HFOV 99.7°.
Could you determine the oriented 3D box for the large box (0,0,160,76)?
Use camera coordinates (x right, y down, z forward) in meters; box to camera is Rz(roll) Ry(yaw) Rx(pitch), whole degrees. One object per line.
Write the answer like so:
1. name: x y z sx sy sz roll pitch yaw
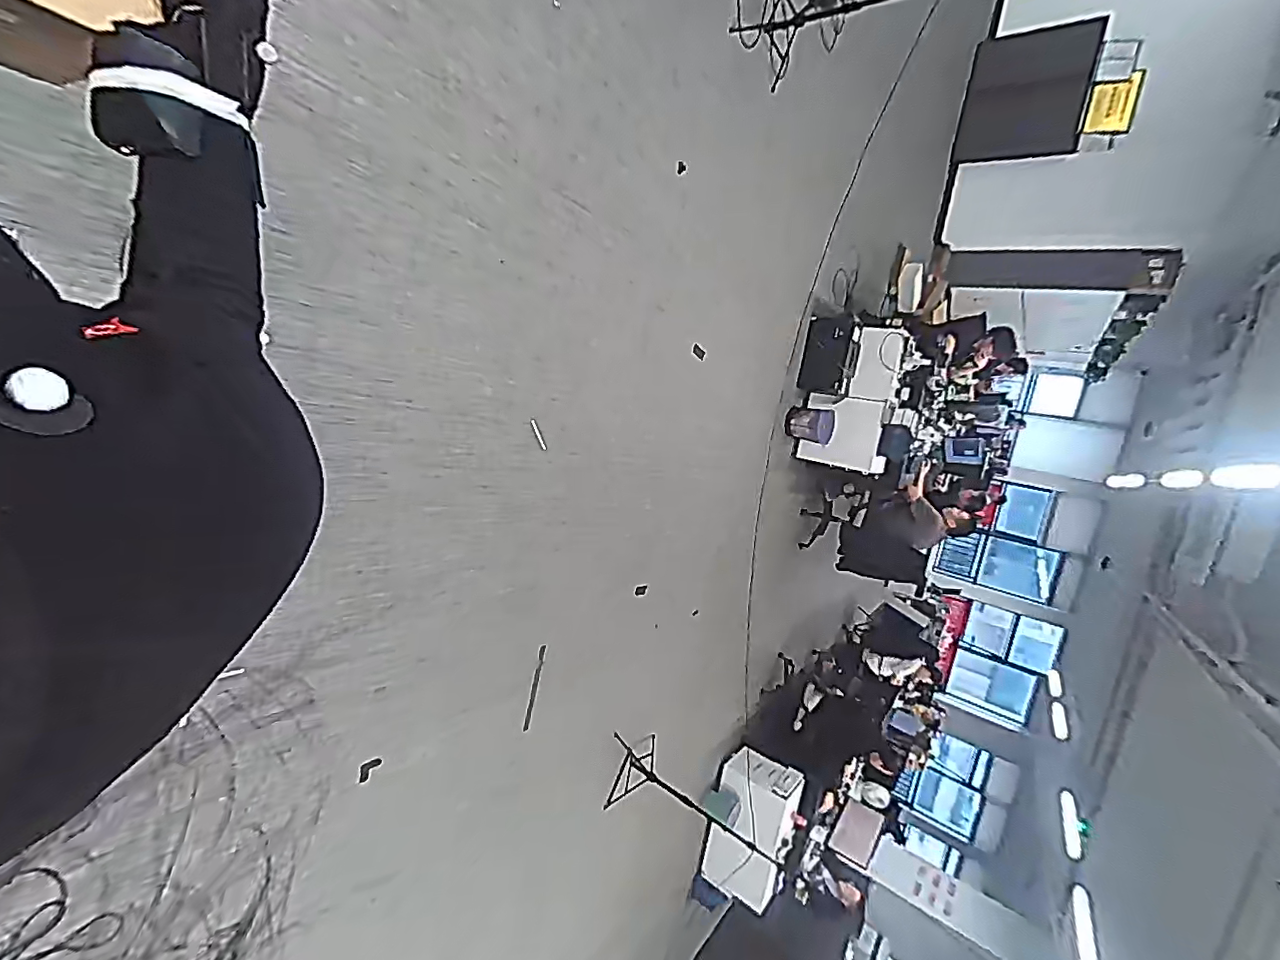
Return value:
1. large box: -0.533 -0.476 0.256 0.408 0.320 0.320 -5 114 -56
